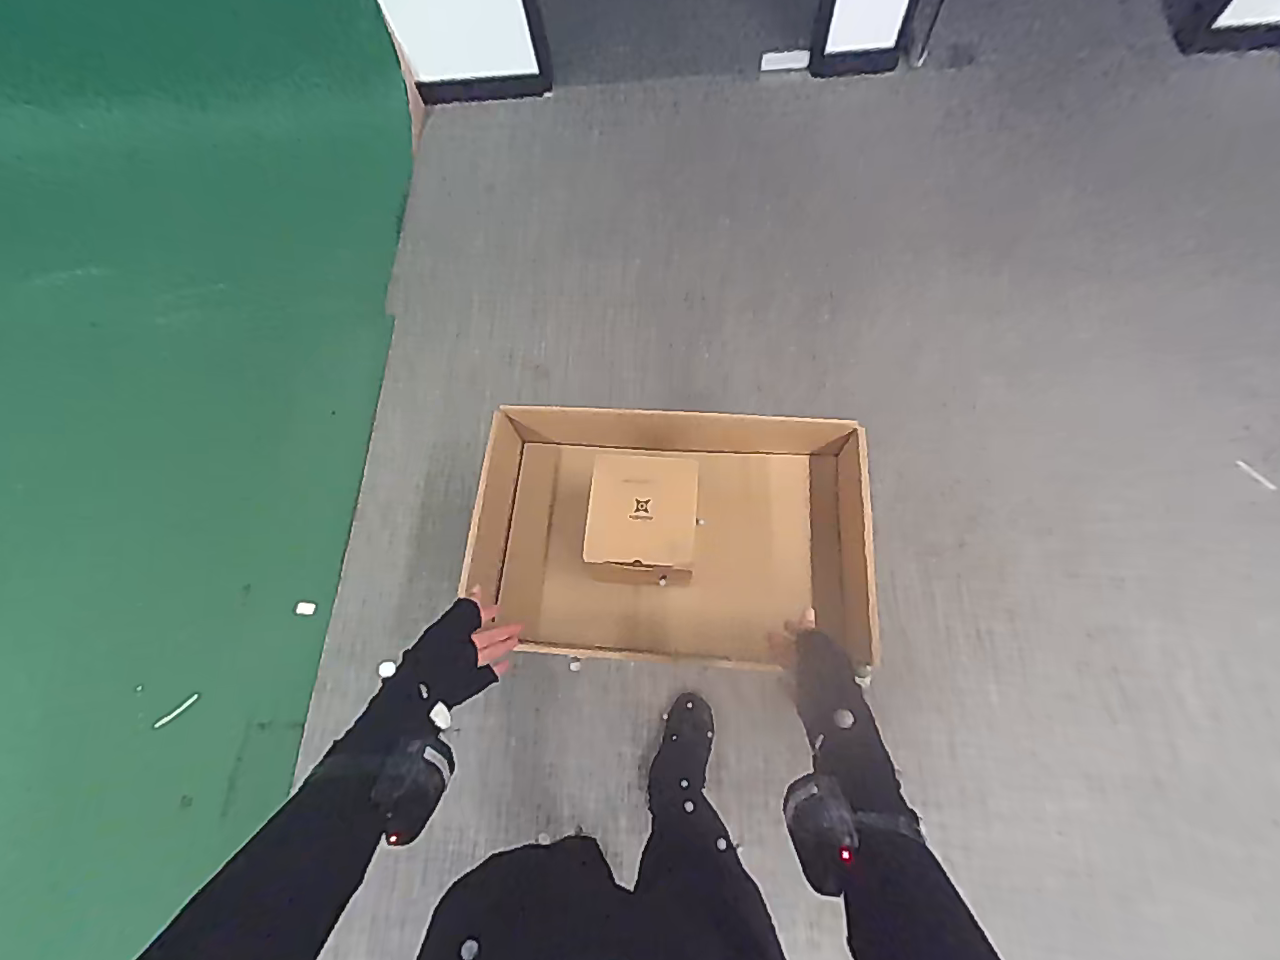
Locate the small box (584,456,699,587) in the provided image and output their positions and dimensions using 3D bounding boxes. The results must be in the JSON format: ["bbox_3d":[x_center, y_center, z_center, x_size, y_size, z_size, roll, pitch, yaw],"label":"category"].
[{"bbox_3d":[0.008,0.075,0.894,0.168,0.176,0.179,3,68,3],"label":"small box"}]
